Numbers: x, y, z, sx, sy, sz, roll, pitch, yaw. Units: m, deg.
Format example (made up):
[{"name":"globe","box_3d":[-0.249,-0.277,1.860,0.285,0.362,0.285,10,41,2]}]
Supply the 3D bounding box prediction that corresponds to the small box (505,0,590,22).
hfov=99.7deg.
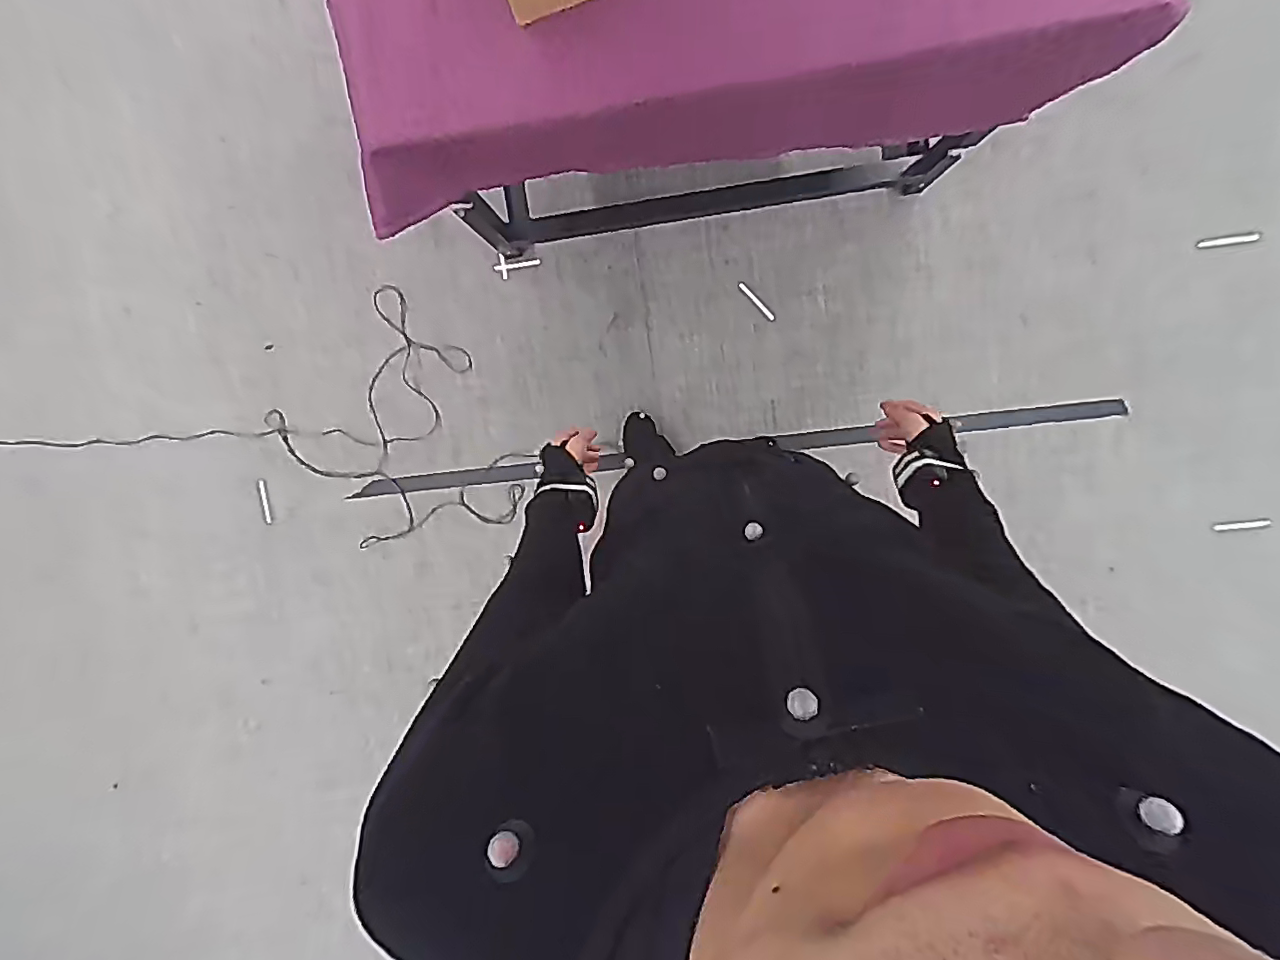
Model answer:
[{"name":"small box","box_3d":[-0.134,-0.771,0.720,0.179,0.176,0.168,-18,97,4]}]
